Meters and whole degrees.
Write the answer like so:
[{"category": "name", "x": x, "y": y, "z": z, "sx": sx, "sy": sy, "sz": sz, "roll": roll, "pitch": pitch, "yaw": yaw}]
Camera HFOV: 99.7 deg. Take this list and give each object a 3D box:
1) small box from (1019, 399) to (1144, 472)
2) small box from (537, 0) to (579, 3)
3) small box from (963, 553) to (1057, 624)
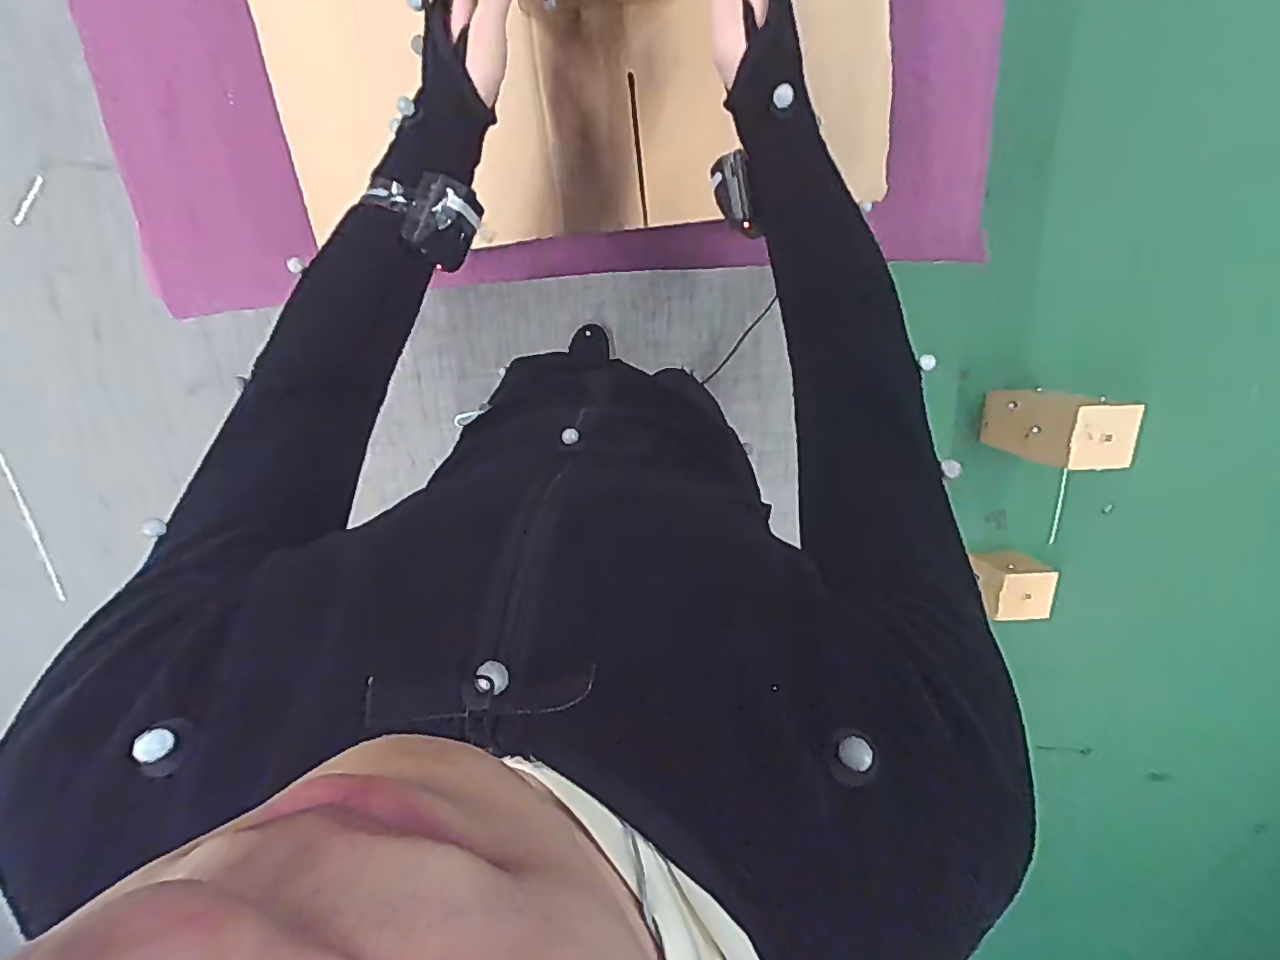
[{"category": "small box", "x": 1.163, "y": -0.122, "z": 1.438, "sx": 0.179, "sy": 0.176, "sz": 0.168, "roll": -2, "pitch": 106, "yaw": -4}, {"category": "small box", "x": -0.044, "y": -0.548, "z": 0.458, "sx": 0.168, "sy": 0.176, "sz": 0.179, "roll": -9, "pitch": 106, "yaw": -4}, {"category": "small box", "x": 1.191, "y": 0.346, "z": 1.752, "sx": 0.179, "sy": 0.176, "sz": 0.168, "roll": -2, "pitch": 107, "yaw": -3}]
